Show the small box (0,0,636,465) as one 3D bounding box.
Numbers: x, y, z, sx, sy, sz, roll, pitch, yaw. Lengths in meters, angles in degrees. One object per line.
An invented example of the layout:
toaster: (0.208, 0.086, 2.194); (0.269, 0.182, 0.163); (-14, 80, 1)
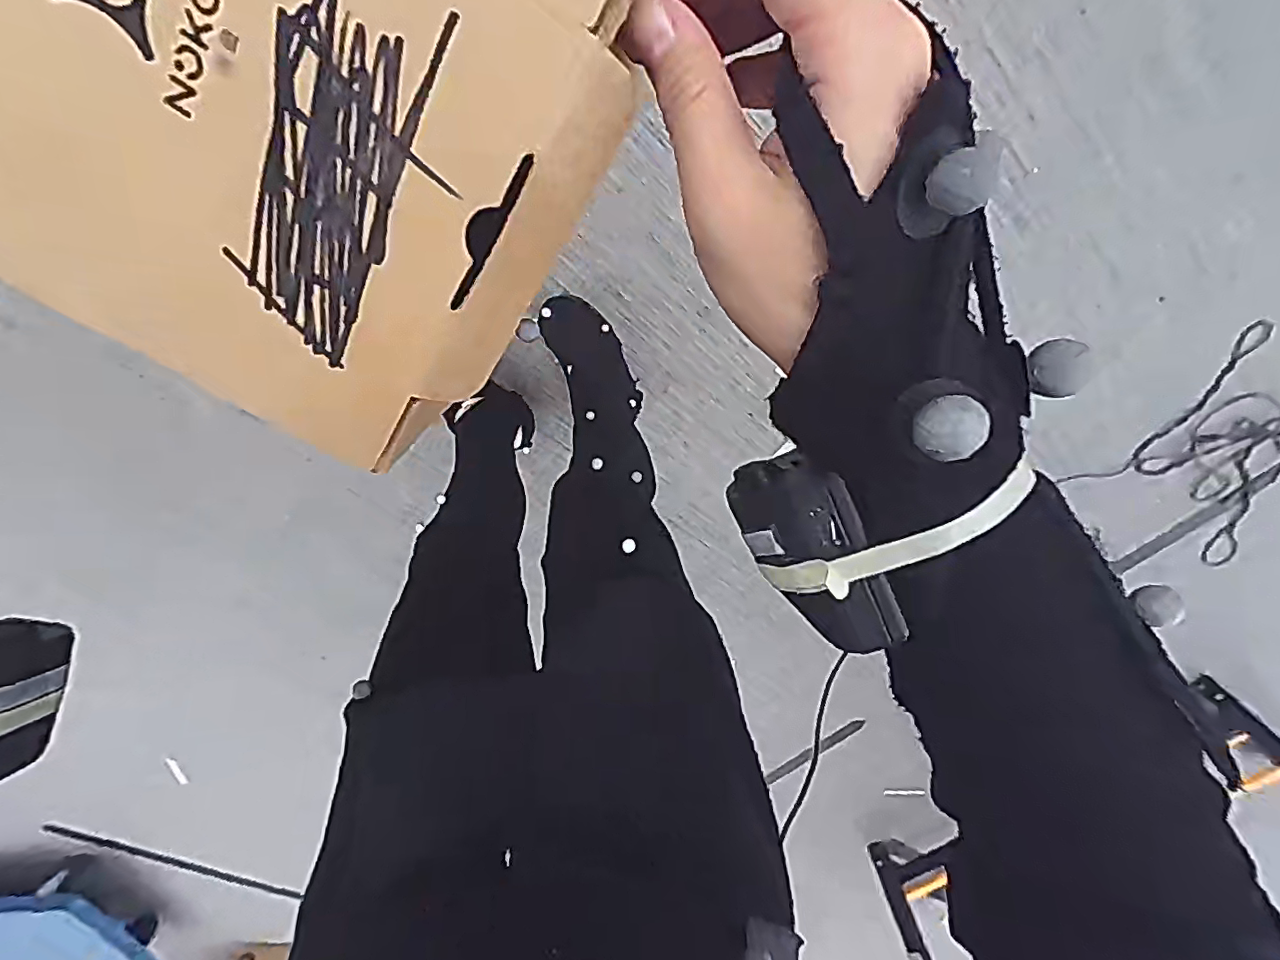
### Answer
small box: (-0.112, -0.141, 0.191); (0.179, 0.176, 0.168); (31, 111, -14)
